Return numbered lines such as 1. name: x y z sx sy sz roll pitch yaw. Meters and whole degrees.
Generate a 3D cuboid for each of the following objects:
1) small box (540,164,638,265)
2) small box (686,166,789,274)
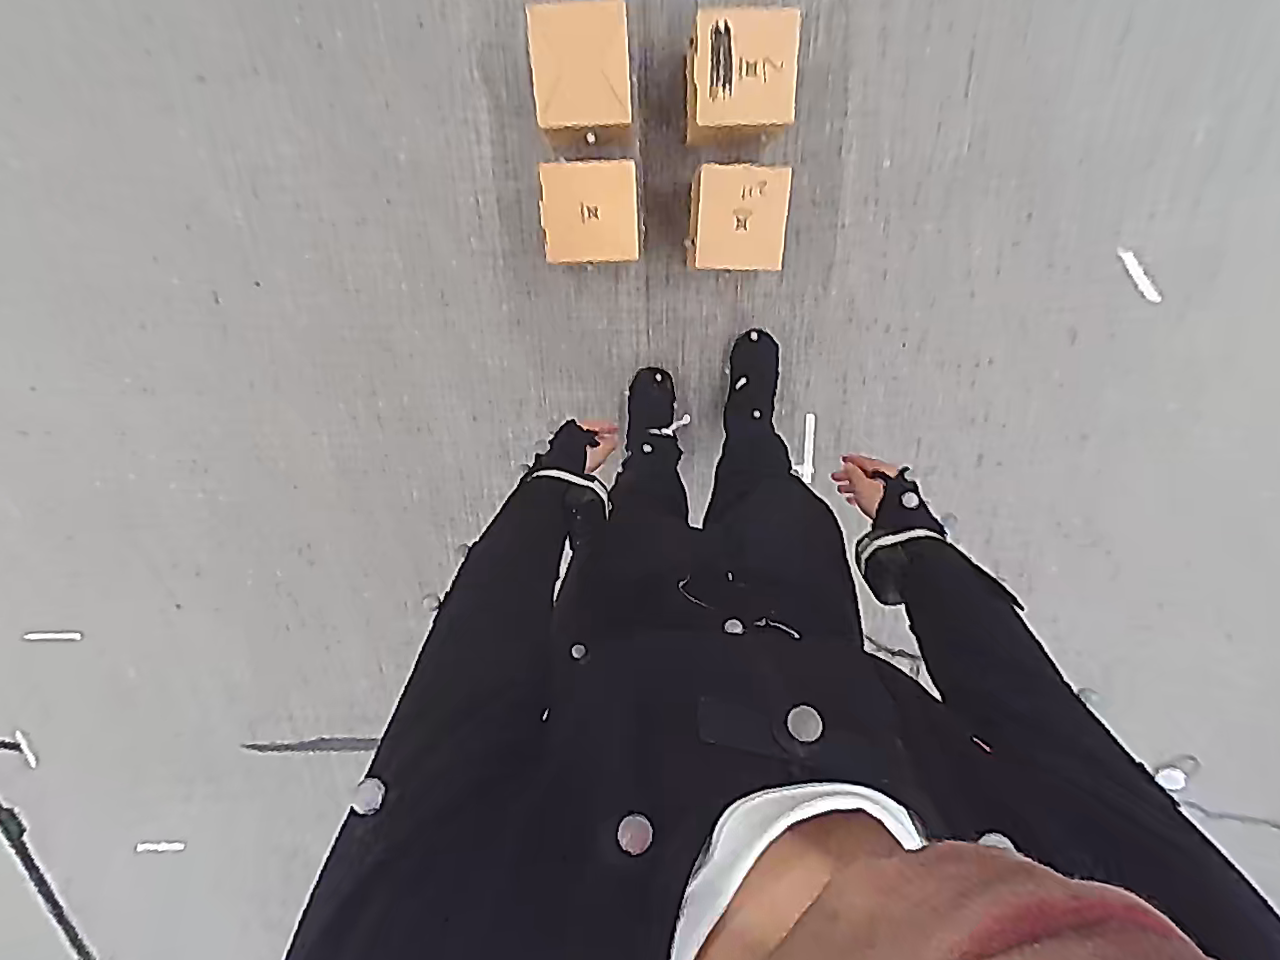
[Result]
1. small box: -0.094 -0.518 1.071 0.179 0.176 0.168 -2 110 1
2. small box: 0.184 -0.508 1.078 0.168 0.176 0.179 1 110 -2
